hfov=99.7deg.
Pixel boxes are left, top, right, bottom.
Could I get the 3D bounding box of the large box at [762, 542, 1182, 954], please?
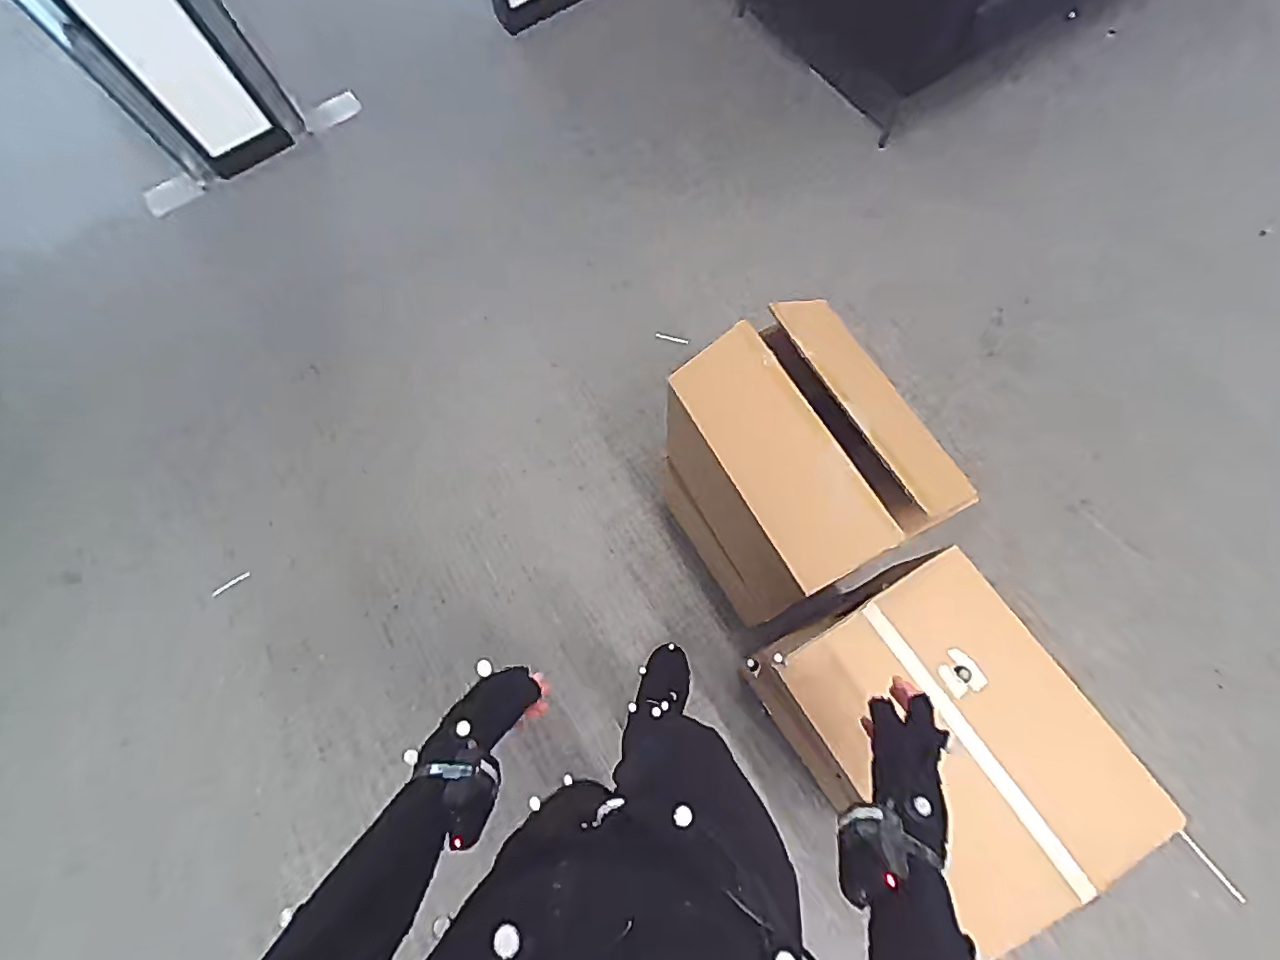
[{"bbox_3d":[0.437,0.362,0.837,0.320,0.320,0.408,-34,72,-2],"label":"large box"}]
